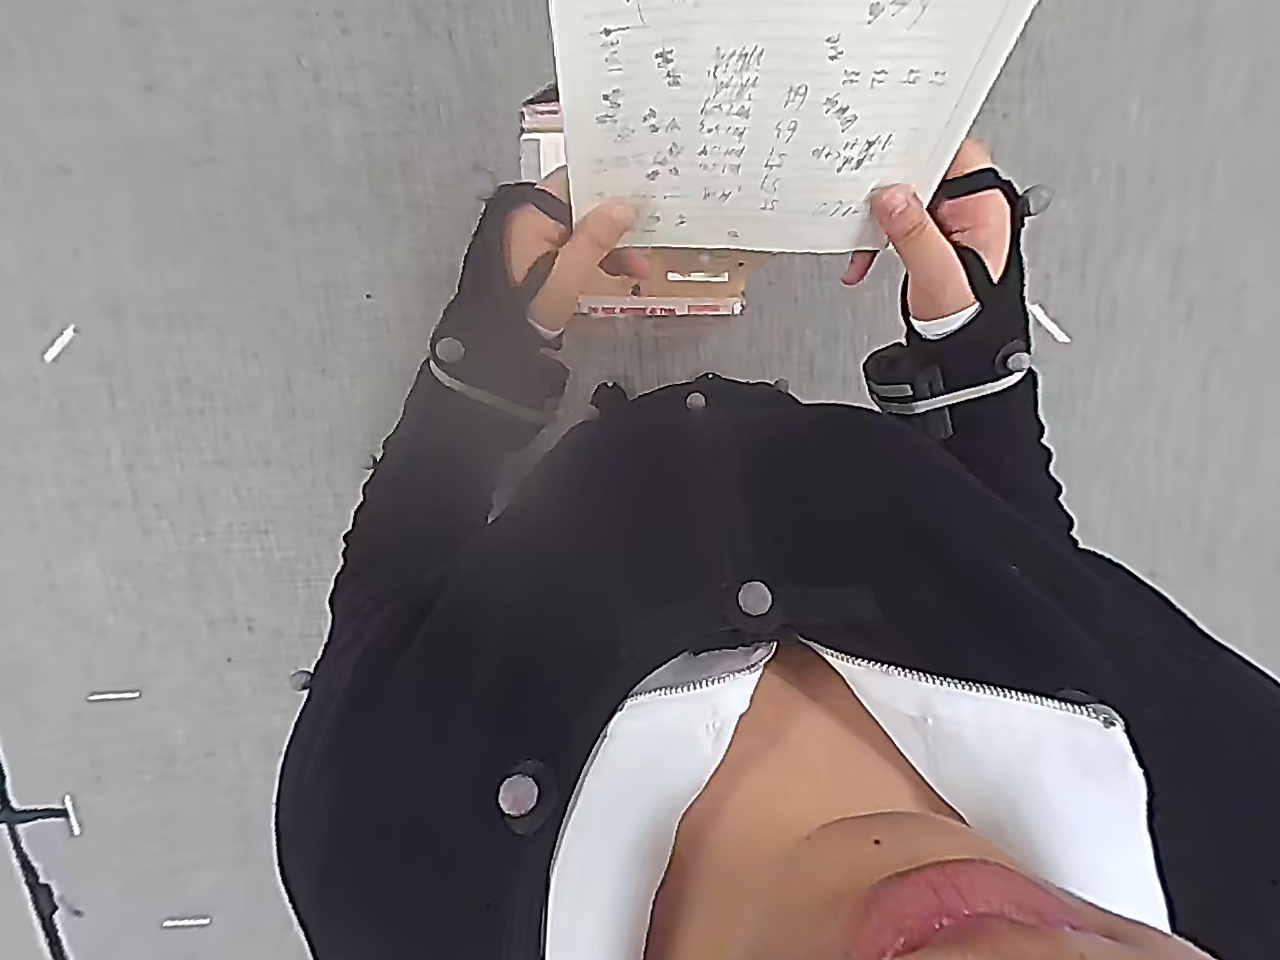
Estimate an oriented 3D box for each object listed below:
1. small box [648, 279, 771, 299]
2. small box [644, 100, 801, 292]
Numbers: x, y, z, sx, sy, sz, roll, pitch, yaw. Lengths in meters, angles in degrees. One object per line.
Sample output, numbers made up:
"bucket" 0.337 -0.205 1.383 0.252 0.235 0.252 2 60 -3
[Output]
"small box" 0.106 -0.387 0.866 0.179 0.176 0.168 -1 101 -2
"small box" 0.094 -0.353 0.704 0.168 0.176 0.179 2 102 -3
